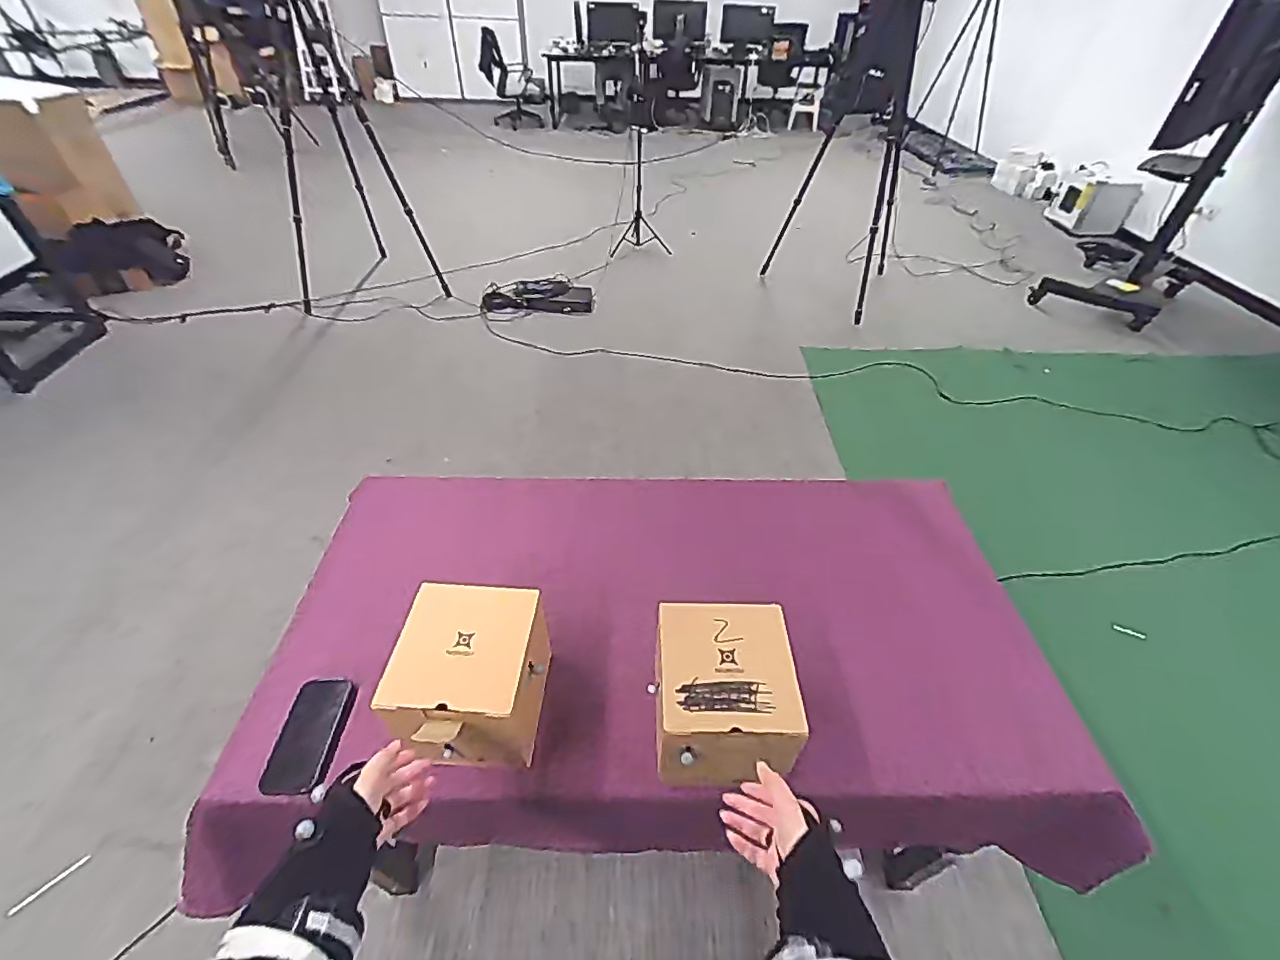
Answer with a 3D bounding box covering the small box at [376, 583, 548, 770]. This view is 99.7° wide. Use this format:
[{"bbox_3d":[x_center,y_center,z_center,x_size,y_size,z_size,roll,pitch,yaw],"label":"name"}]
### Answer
[{"bbox_3d":[-0.222,0.265,0.732,0.168,0.176,0.179,4,44,1],"label":"small box"}]
